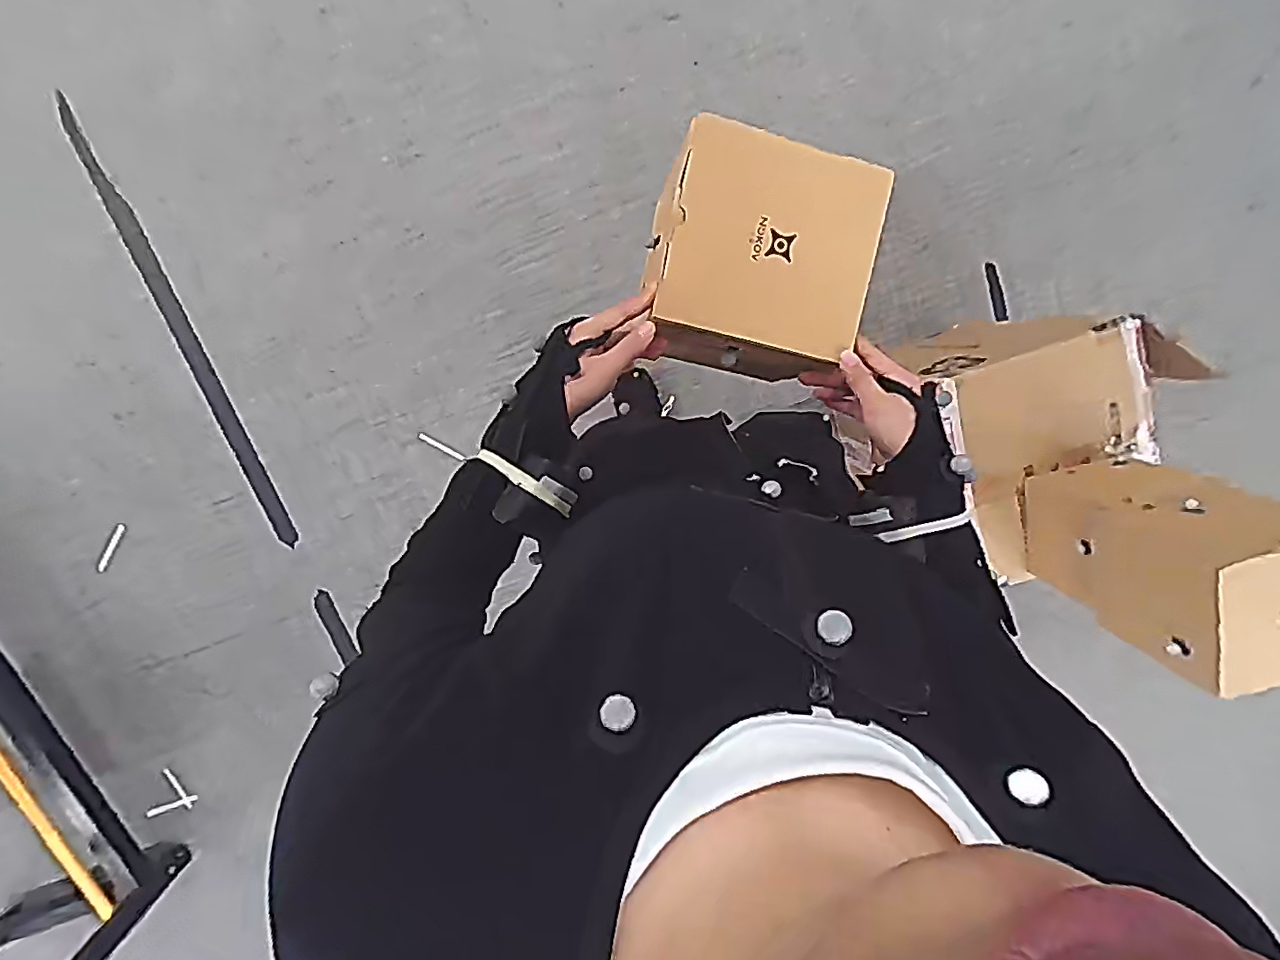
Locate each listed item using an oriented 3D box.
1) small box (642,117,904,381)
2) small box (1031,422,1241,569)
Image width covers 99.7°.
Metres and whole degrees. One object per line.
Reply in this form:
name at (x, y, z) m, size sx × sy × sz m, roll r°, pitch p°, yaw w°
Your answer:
small box at (0.110, -0.197, 0.520) m, size 0.179 × 0.176 × 0.168 m, roll 12°, pitch 92°, yaw -7°
small box at (0.721, 0.021, 0.801) m, size 0.168 × 0.176 × 0.179 m, roll -18°, pitch 105°, yaw 4°
